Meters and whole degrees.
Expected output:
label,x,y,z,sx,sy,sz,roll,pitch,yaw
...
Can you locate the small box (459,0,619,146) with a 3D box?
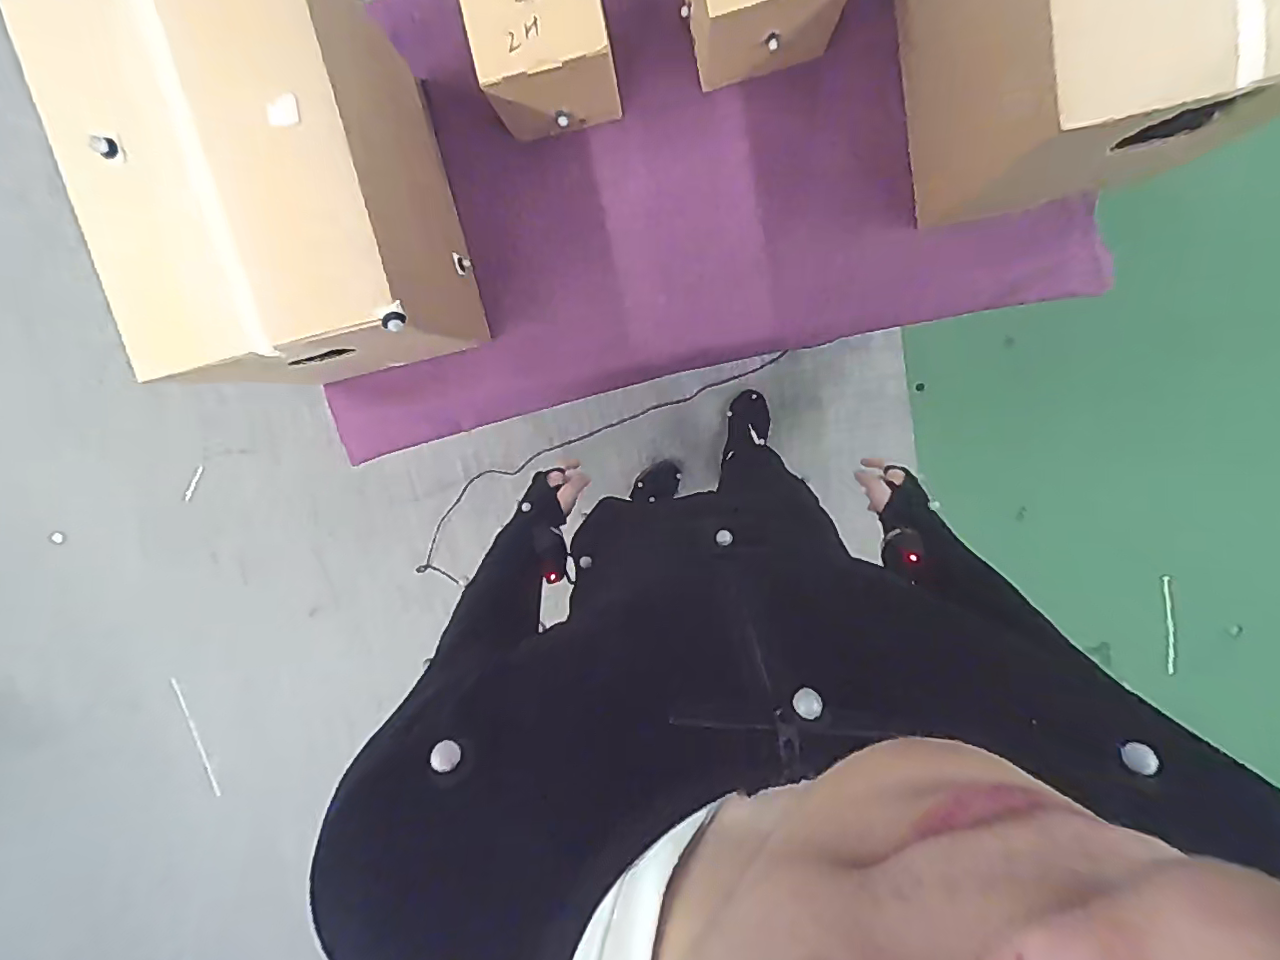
label,x,y,z,sx,sy,sz,roll,pitch,yaw
small box,-0.129,-0.586,0.716,0.168,0.176,0.179,-11,98,6
